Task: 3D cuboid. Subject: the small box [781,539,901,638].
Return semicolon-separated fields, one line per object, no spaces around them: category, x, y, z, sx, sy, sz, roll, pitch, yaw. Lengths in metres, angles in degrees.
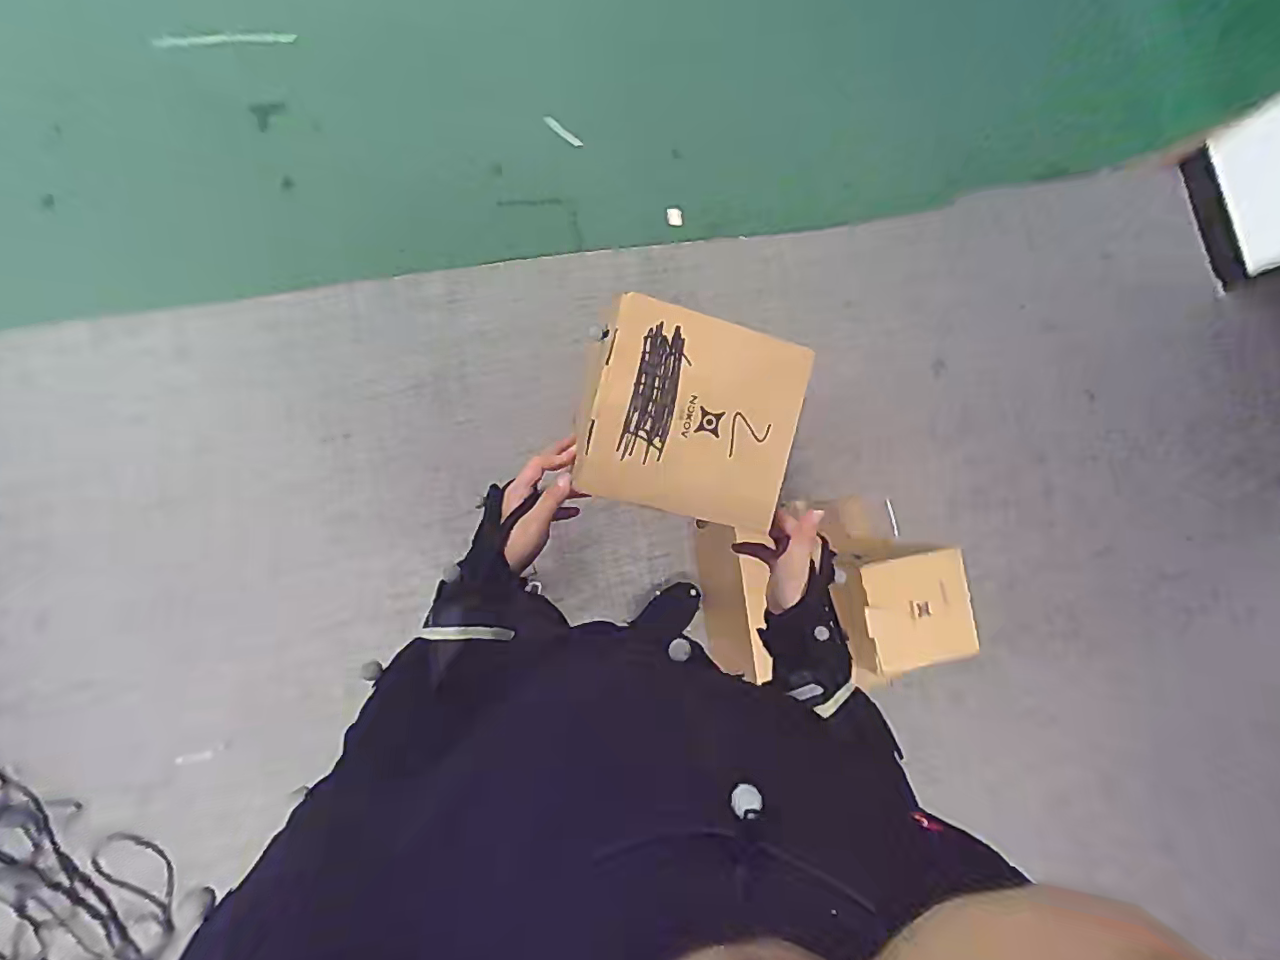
small box;0.385;0.205;1.045;0.168;0.176;0.179;-1;85;-11

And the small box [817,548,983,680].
small box;0.408;0.207;0.884;0.179;0.176;0.168;-9;87;-13

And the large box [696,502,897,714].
large box;0.344;0.274;1.278;0.320;0.320;0.408;-7;86;-10
